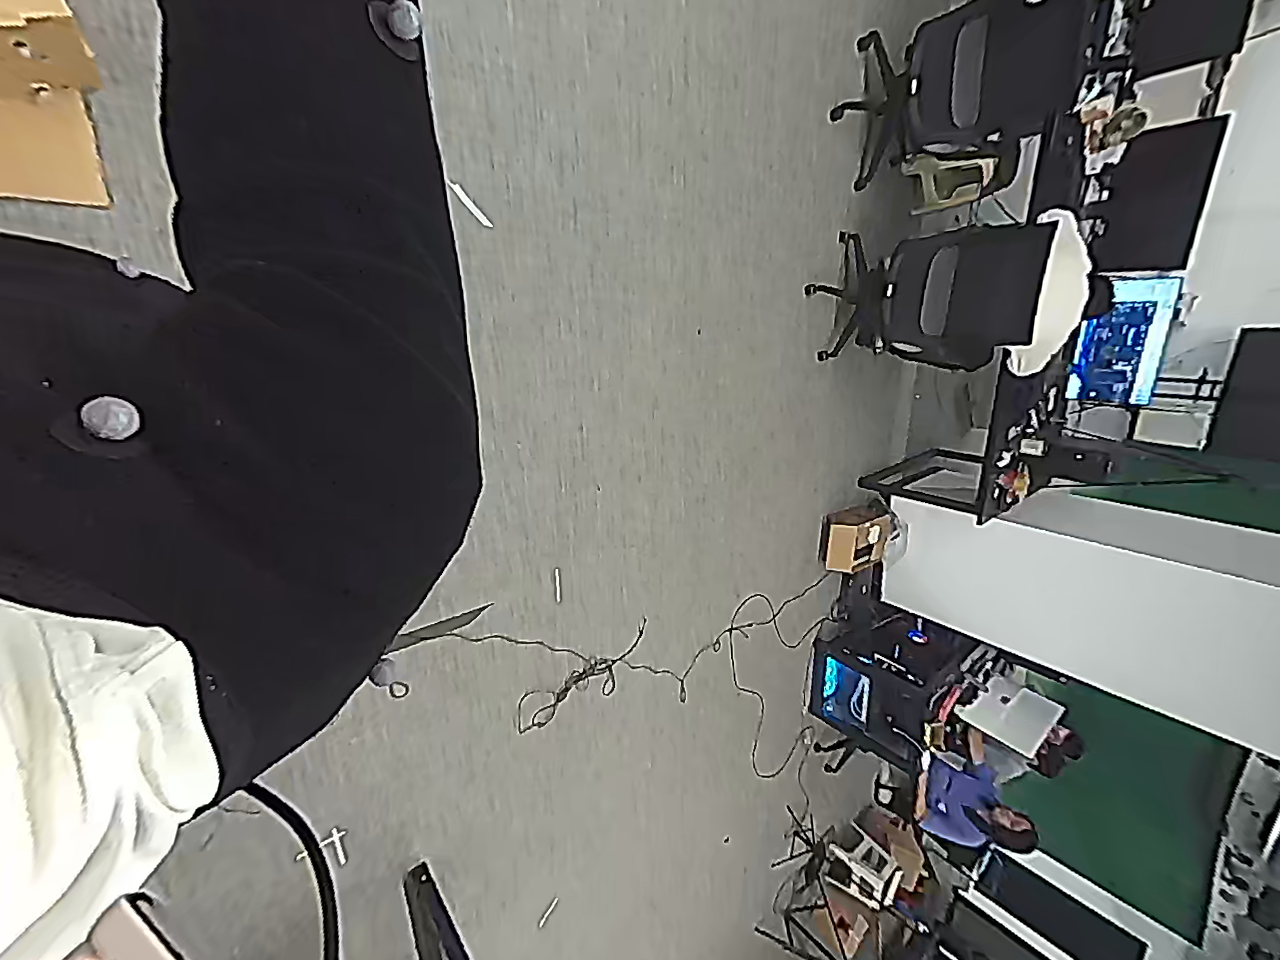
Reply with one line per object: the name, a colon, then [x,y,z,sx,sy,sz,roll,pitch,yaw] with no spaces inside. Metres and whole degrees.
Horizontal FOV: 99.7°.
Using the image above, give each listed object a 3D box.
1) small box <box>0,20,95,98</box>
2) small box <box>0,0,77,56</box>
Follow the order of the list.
small box: [-1.103,-0.798,0.933,0.168,0.176,0.179,-34,122,-28]
small box: [-1.004,-0.761,0.808,0.168,0.176,0.179,-32,122,-30]
